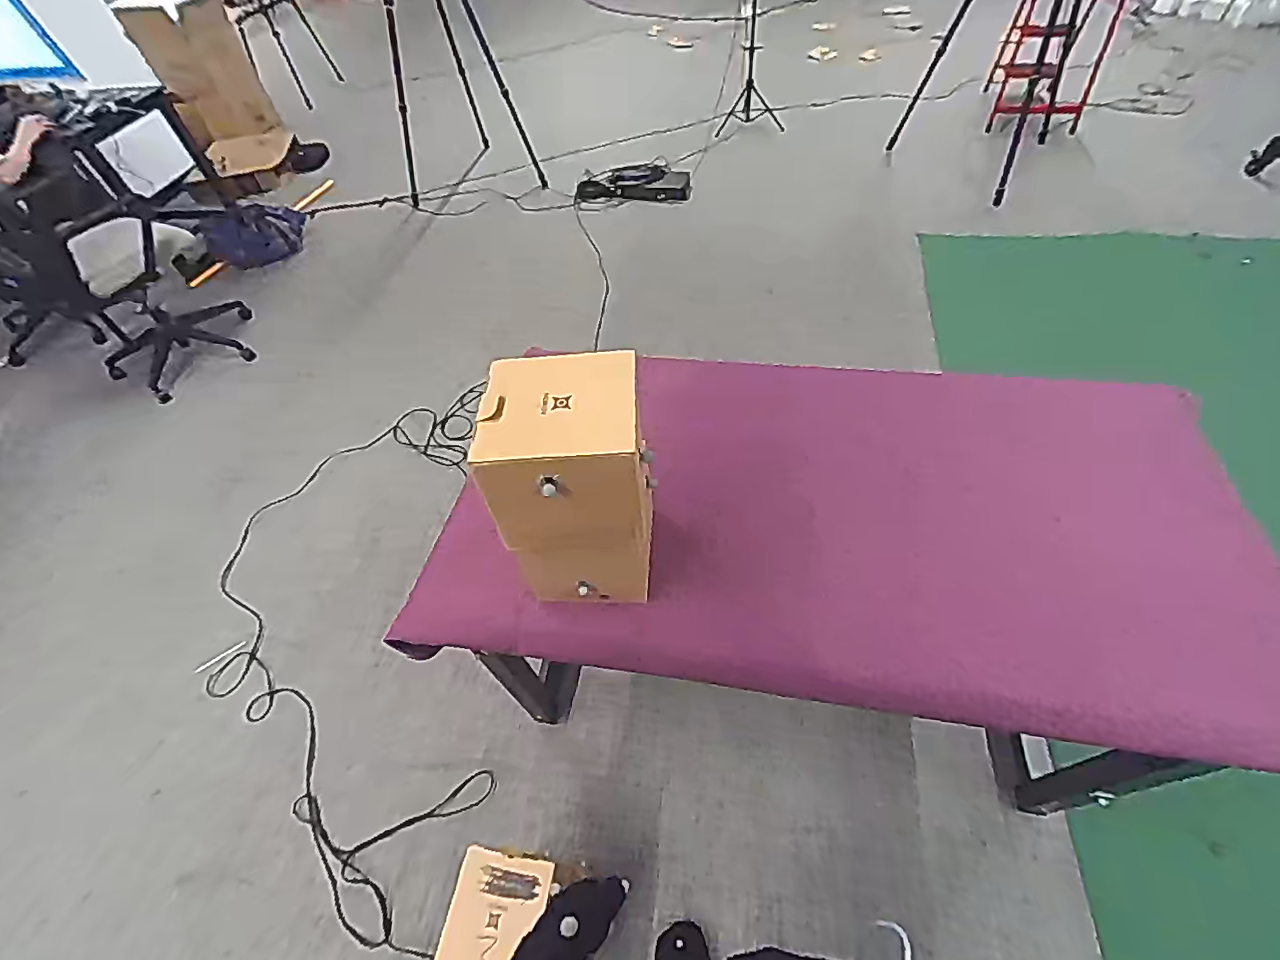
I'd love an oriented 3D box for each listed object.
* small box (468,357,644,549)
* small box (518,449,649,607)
[{"bbox_3d":[-0.085,-0.029,0.659,0.179,0.176,0.168,-3,51,3],"label":"small box"},{"bbox_3d":[-0.077,0.066,0.792,0.168,0.176,0.179,1,51,6],"label":"small box"}]
